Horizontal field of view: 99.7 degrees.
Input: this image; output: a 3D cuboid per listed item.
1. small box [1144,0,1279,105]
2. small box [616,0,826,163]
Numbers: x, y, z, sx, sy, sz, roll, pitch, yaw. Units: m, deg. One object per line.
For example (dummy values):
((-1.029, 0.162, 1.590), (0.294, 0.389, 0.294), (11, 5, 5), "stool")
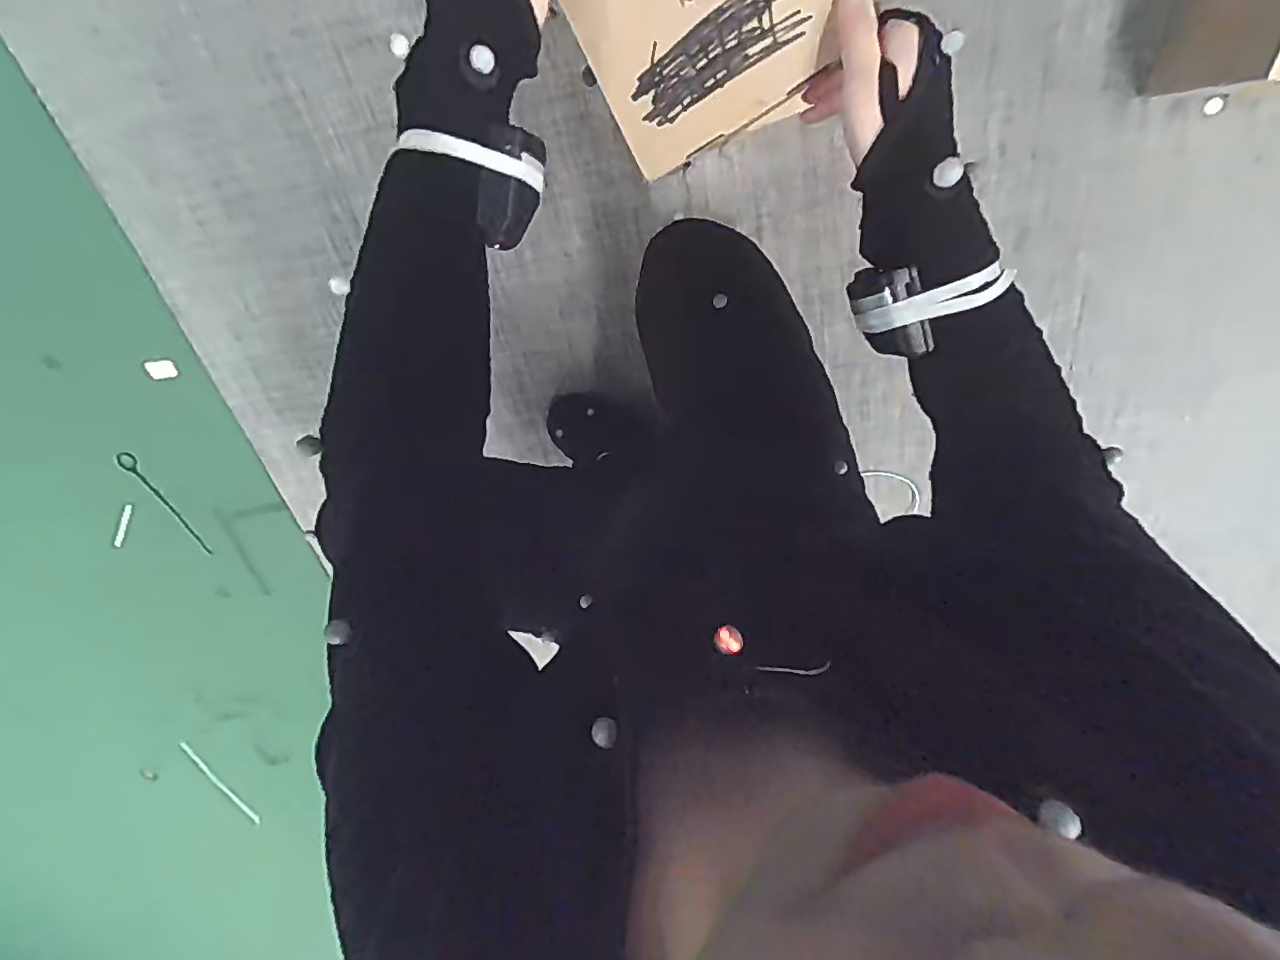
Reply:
((0.682, -0.499, 0.547), (0.168, 0.176, 0.179), (2, 119, 2), "small box")
((0.085, -0.464, 0.591), (0.179, 0.176, 0.168), (-16, 117, 11), "small box")
